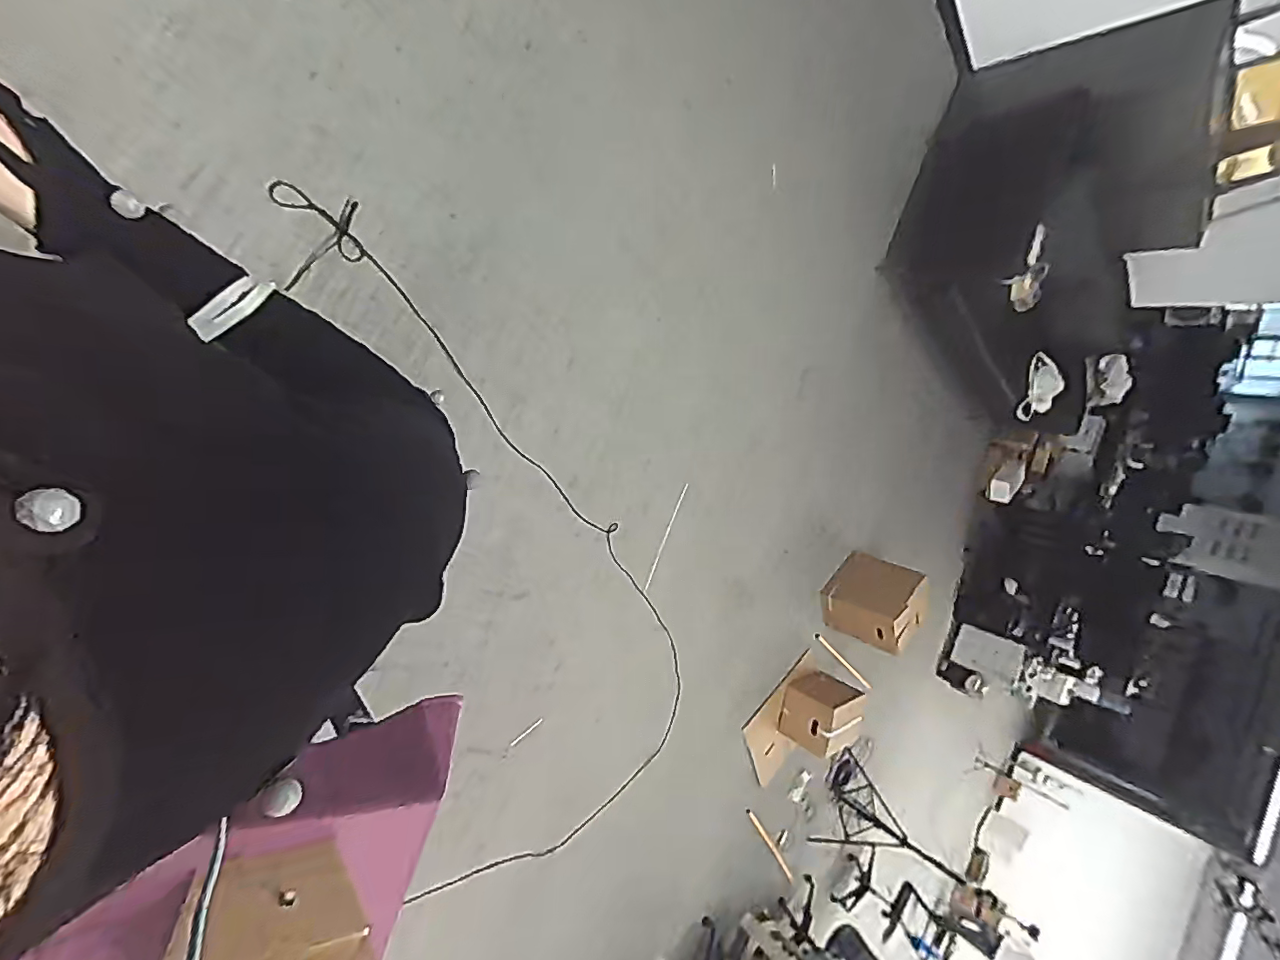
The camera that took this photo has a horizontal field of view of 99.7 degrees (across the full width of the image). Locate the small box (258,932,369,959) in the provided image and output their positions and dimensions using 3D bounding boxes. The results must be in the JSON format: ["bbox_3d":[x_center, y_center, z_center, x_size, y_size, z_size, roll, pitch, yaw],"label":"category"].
[{"bbox_3d":[-0.391,0.668,0.597,0.168,0.176,0.179,22,87,-44],"label":"small box"}]
